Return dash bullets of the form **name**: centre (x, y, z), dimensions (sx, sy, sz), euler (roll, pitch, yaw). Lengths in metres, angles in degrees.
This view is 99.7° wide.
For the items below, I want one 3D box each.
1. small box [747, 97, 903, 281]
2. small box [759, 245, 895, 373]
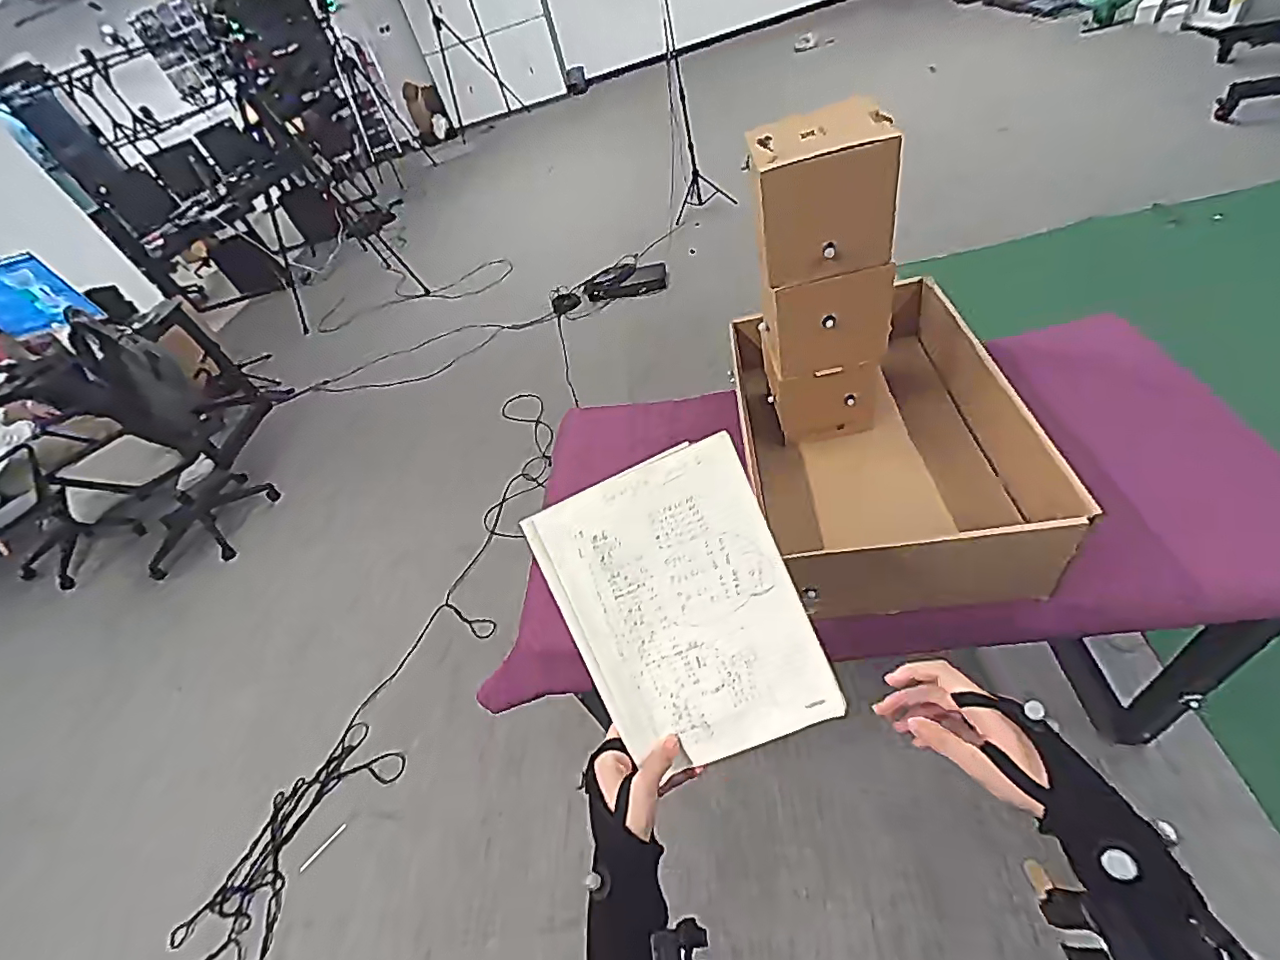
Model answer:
- **small box**: centre (0.256, -0.414, 0.782), dimensions (0.179, 0.176, 0.168), euler (-8, 46, 10)
- **small box**: centre (0.299, -0.304, 0.895), dimensions (0.179, 0.176, 0.168), euler (-11, 46, 10)
